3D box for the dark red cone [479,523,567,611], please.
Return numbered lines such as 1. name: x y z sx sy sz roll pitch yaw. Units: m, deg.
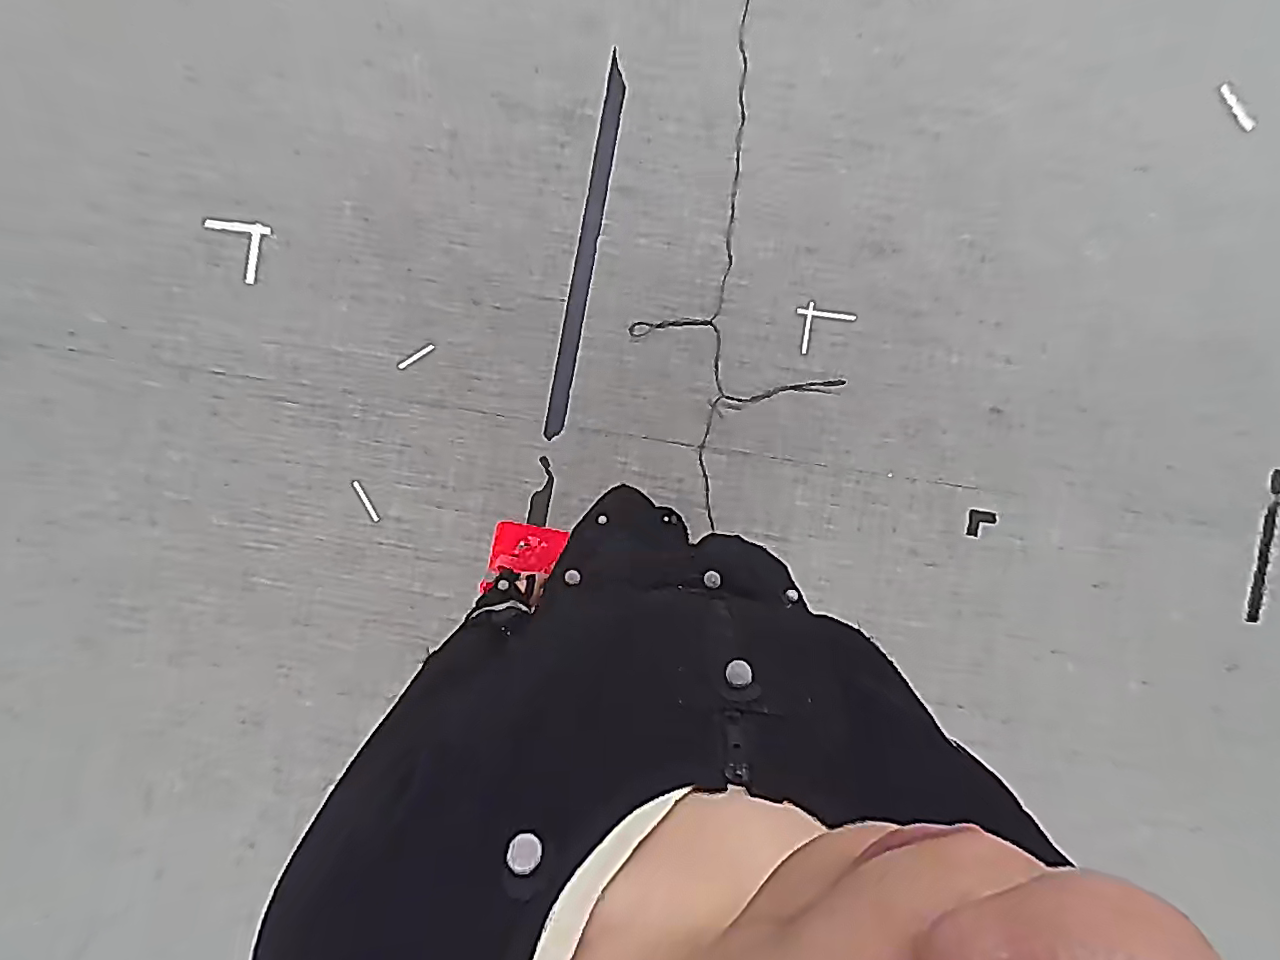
1. dark red cone: -0.285 0.210 1.188 0.201 0.394 0.202 9 88 -1
